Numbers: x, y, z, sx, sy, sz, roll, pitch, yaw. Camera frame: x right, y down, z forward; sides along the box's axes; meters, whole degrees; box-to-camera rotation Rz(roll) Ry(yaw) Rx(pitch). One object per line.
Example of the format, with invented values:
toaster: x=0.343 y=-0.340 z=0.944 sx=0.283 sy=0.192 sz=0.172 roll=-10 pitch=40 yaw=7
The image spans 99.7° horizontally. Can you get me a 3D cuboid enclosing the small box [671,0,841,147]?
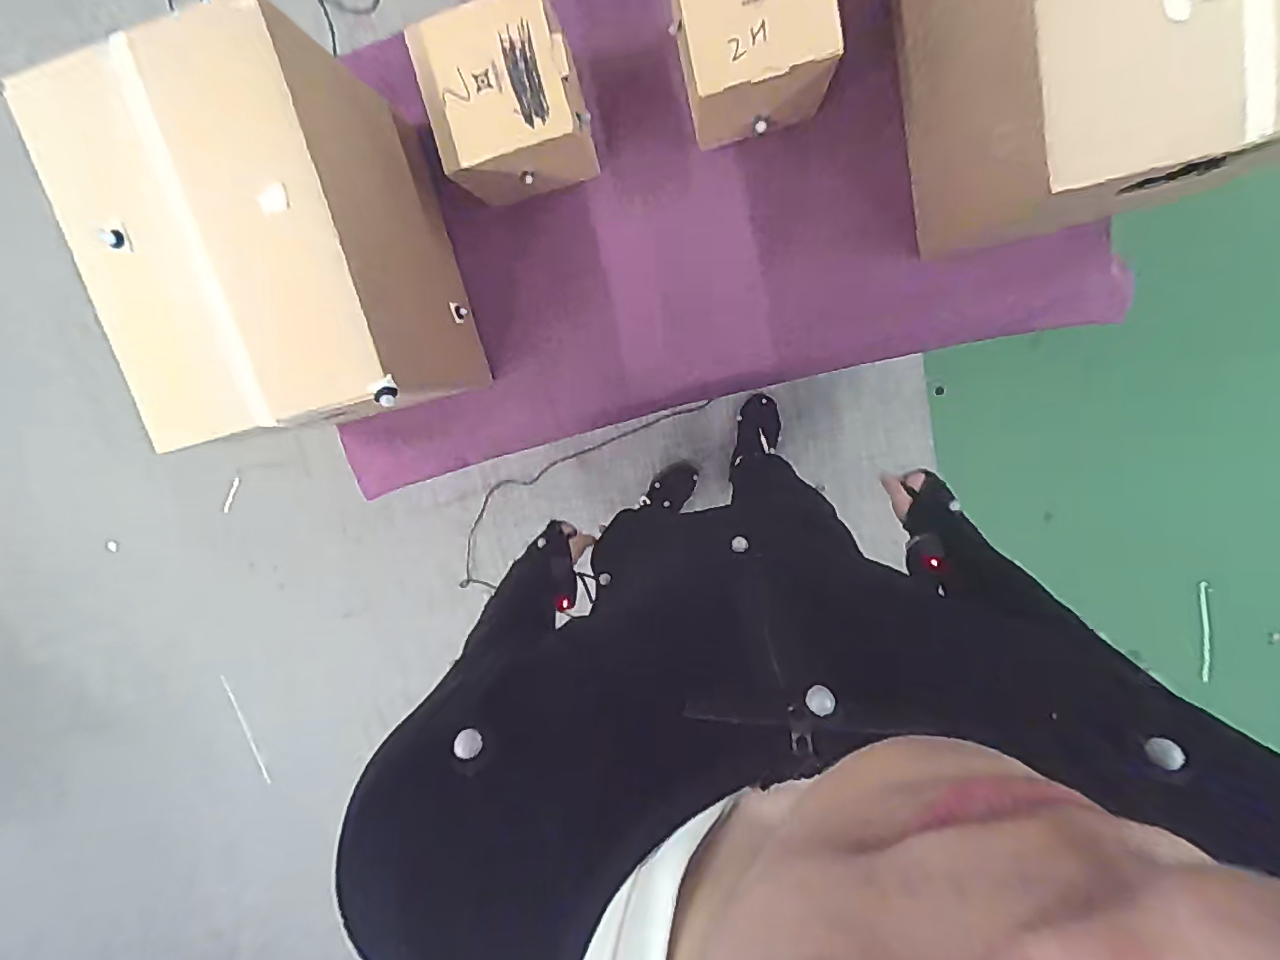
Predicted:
small box: x=0.132 y=-0.556 z=0.670 sx=0.168 sy=0.176 sz=0.179 roll=-12 pitch=101 yaw=8

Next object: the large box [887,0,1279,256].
large box: x=0.487 y=-0.505 z=0.571 sx=0.320 sy=0.320 sz=0.408 roll=-11 pitch=101 yaw=10
